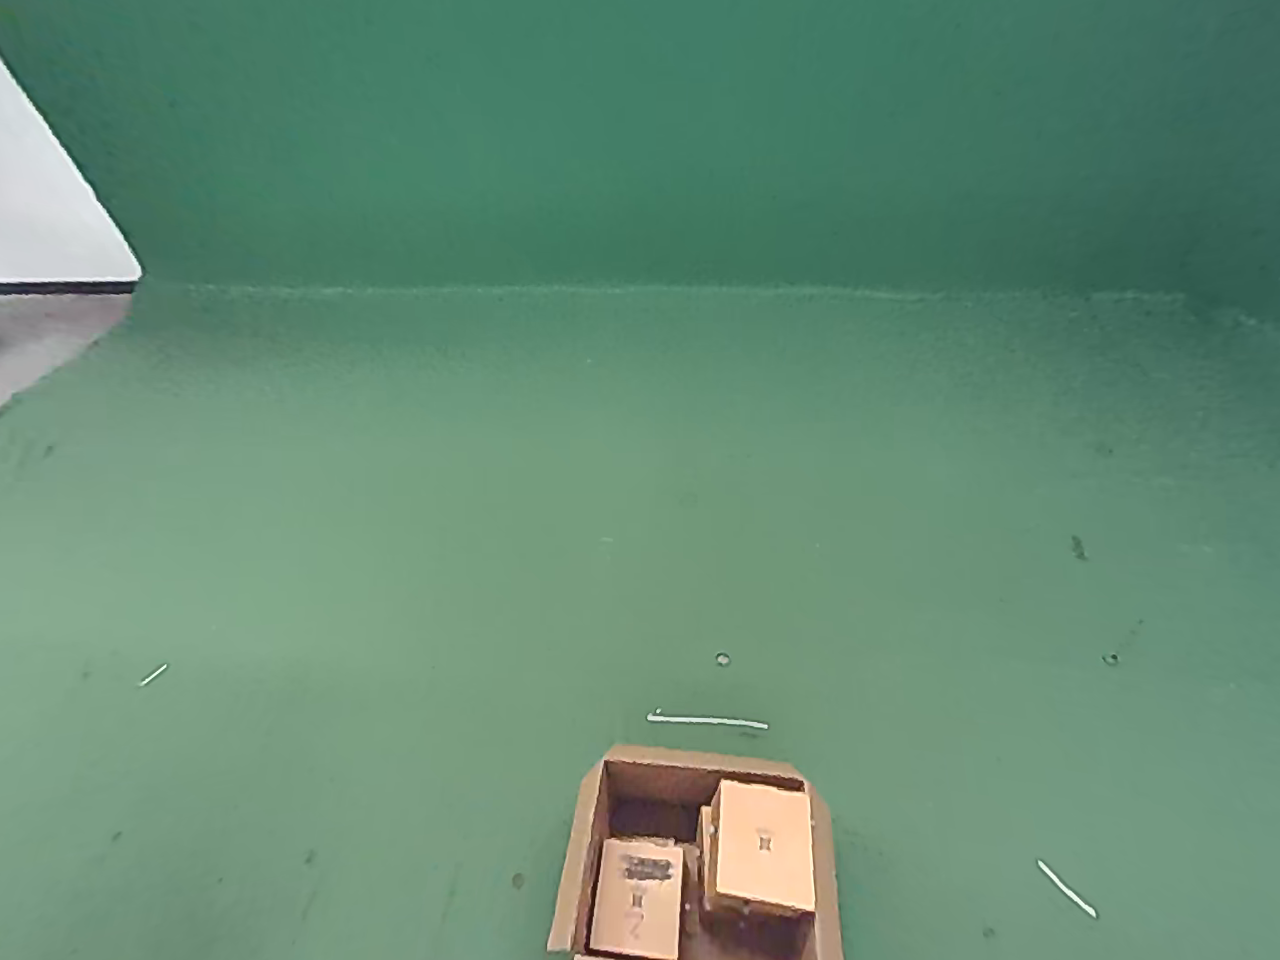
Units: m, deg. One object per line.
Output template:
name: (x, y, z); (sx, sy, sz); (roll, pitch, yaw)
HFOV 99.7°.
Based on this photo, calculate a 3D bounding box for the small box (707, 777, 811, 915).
small box: (0.216, 0.684, 1.008); (0.168, 0.176, 0.179); (6, 46, 6)
